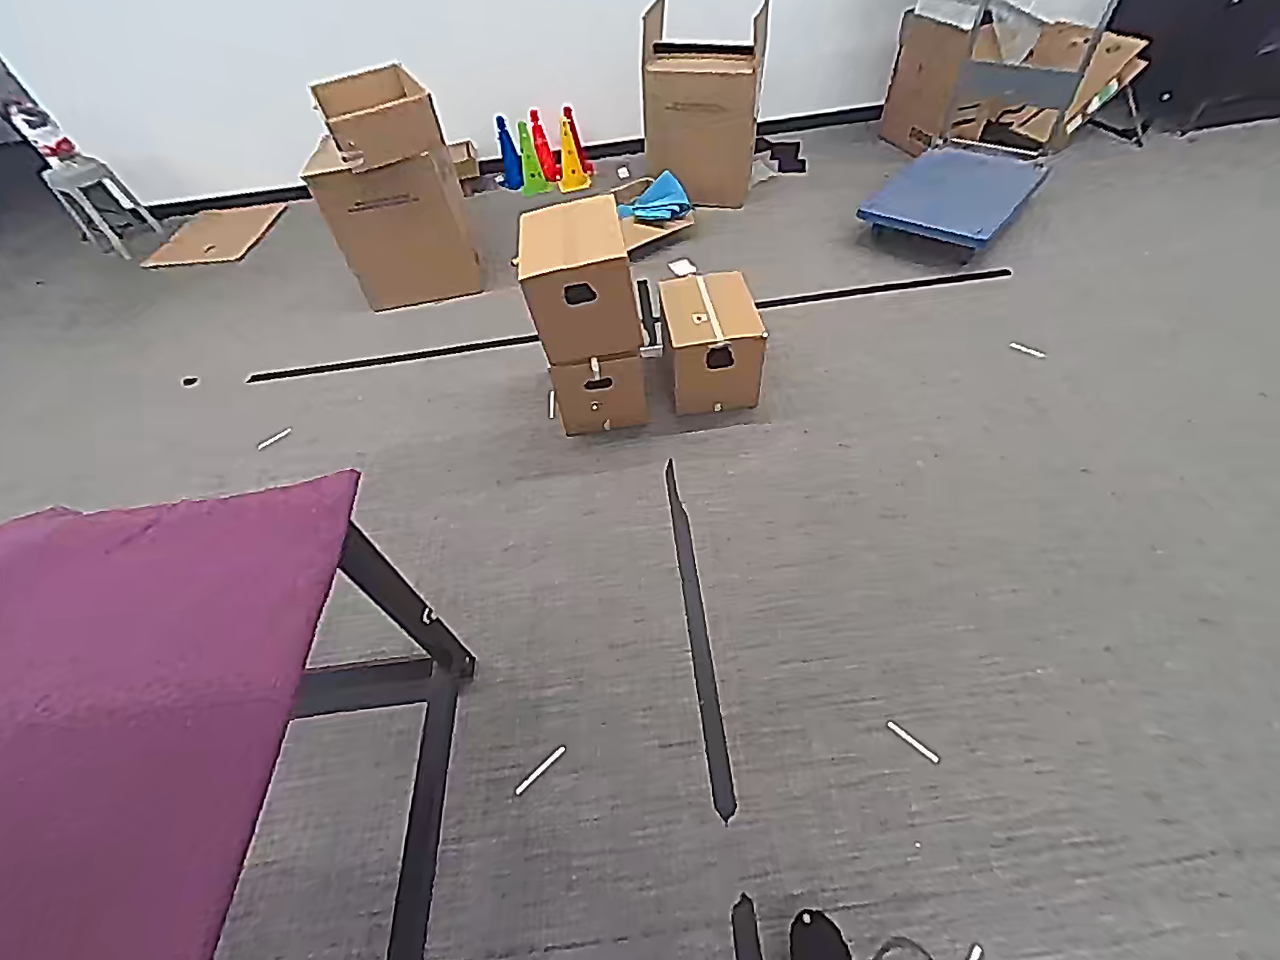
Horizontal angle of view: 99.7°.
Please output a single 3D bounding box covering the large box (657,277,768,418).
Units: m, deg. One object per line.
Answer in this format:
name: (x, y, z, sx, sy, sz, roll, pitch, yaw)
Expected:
large box: (0.251, -0.489, 1.990, 0.320, 0.320, 0.408, -9, 51, 0)
